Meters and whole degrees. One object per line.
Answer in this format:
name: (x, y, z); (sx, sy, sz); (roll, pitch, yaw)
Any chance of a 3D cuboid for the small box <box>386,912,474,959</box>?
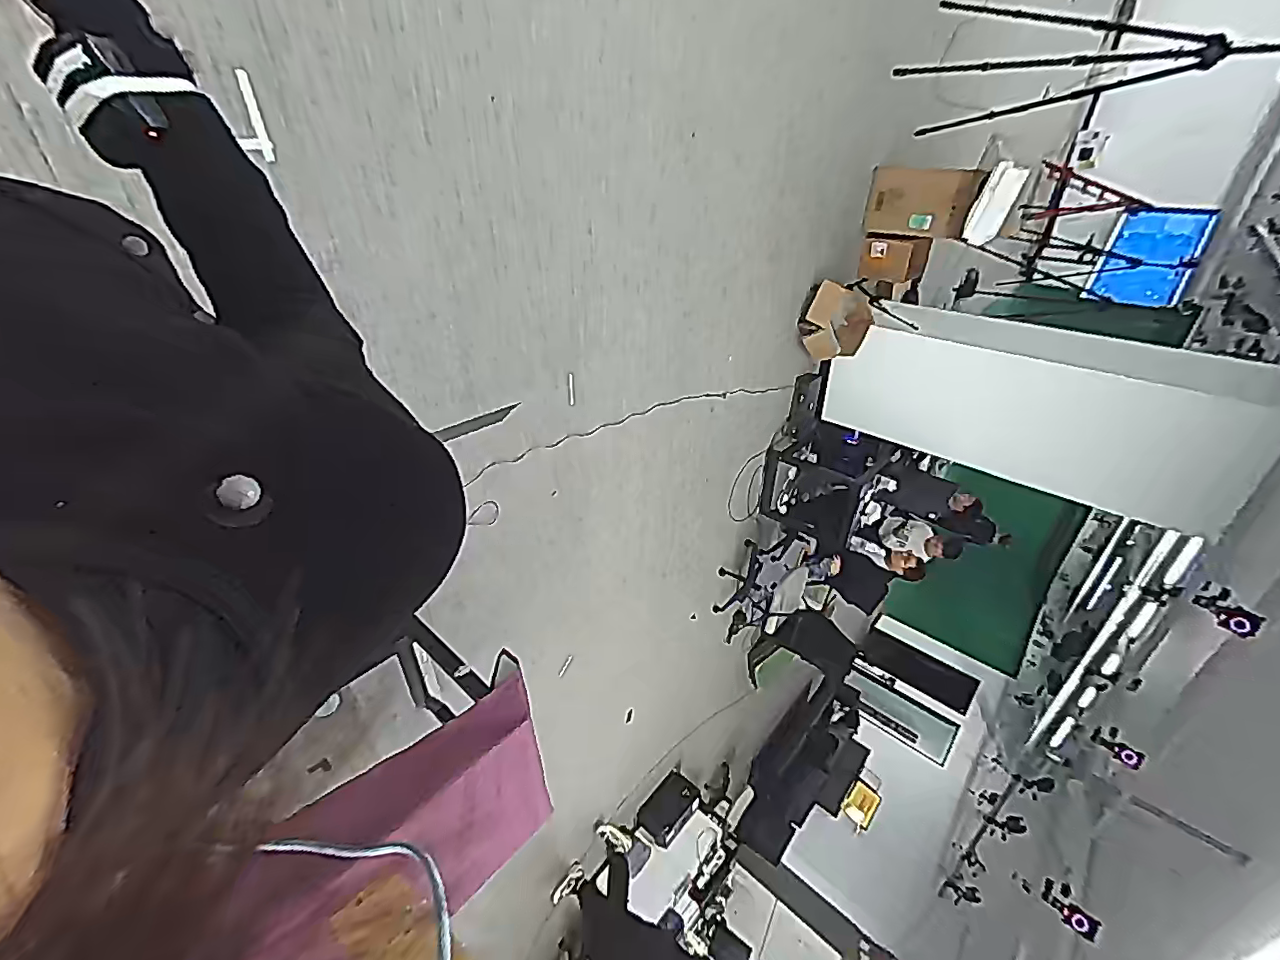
small box: (-0.490, 1.171, 1.257); (0.179, 0.176, 0.168); (-29, 132, -41)
